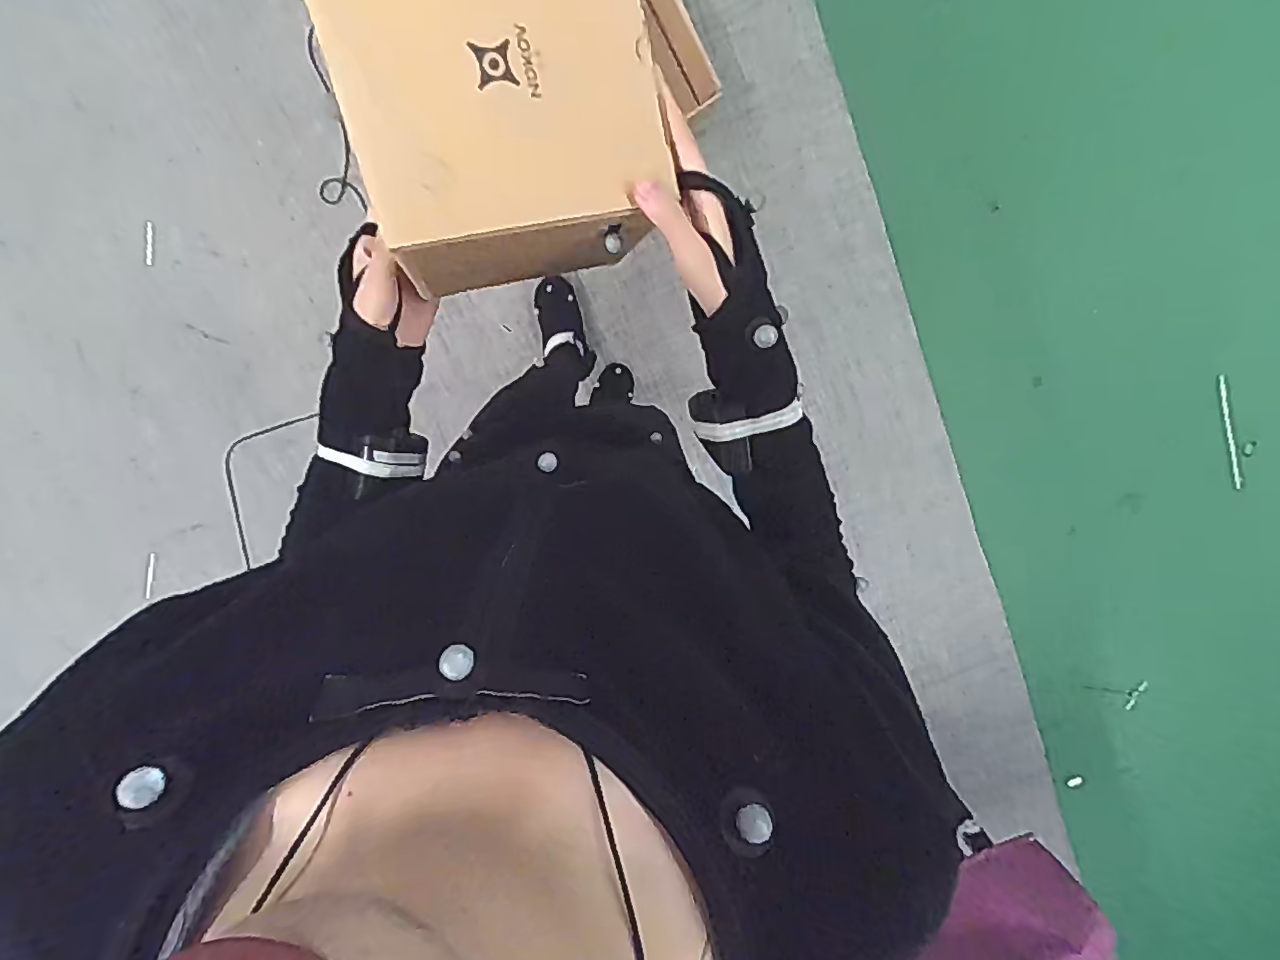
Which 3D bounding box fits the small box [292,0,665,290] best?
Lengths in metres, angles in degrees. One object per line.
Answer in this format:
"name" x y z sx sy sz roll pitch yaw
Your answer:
"small box" -0.104 -0.240 0.371 0.179 0.176 0.168 -17 105 -14
